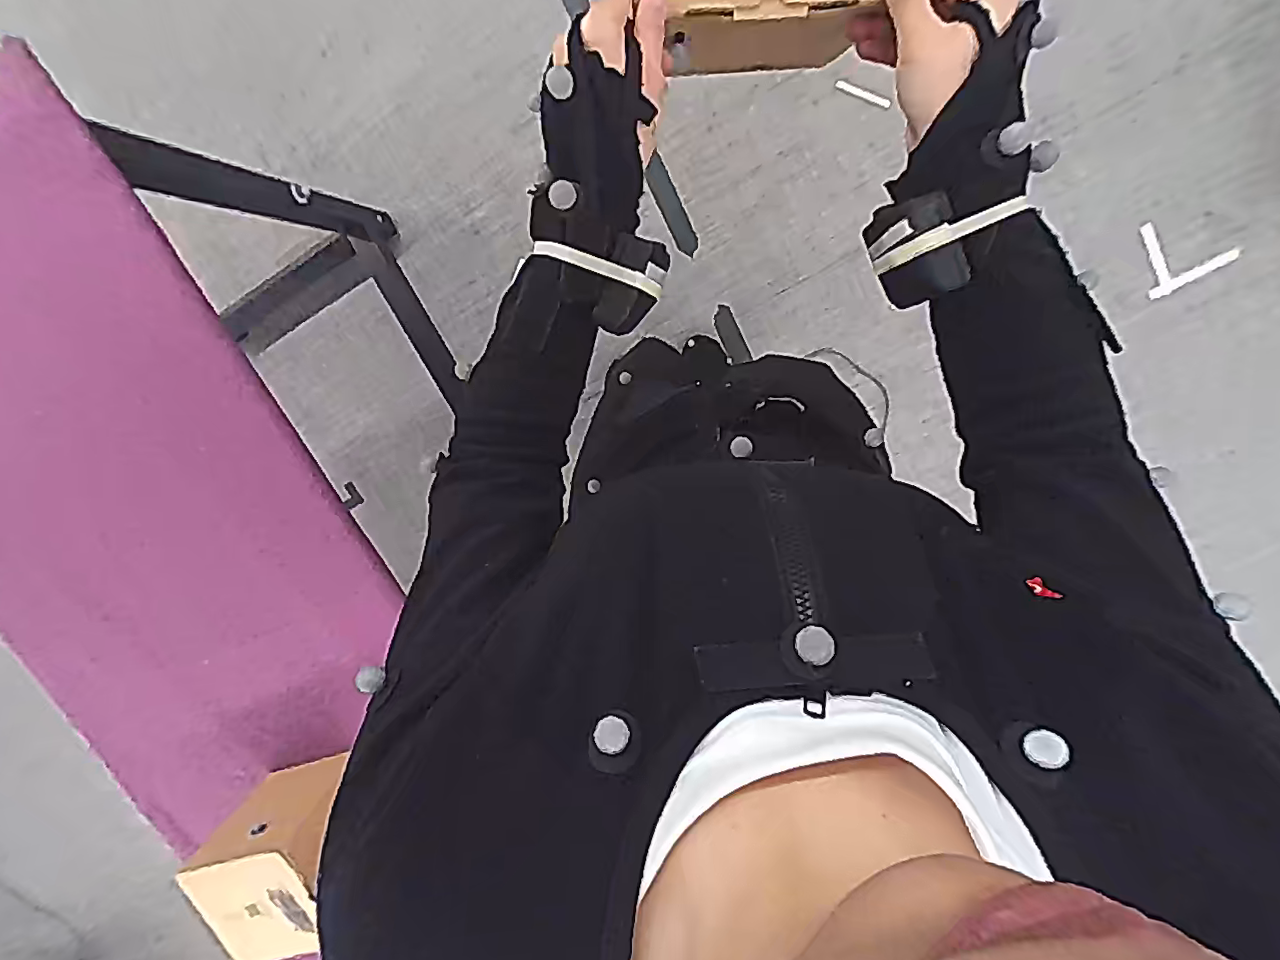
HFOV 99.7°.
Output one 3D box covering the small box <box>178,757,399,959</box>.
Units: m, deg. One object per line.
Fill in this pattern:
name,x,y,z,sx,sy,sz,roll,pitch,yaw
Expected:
small box,-0.475,0.529,0.767,0.179,0.176,0.168,-20,102,12
